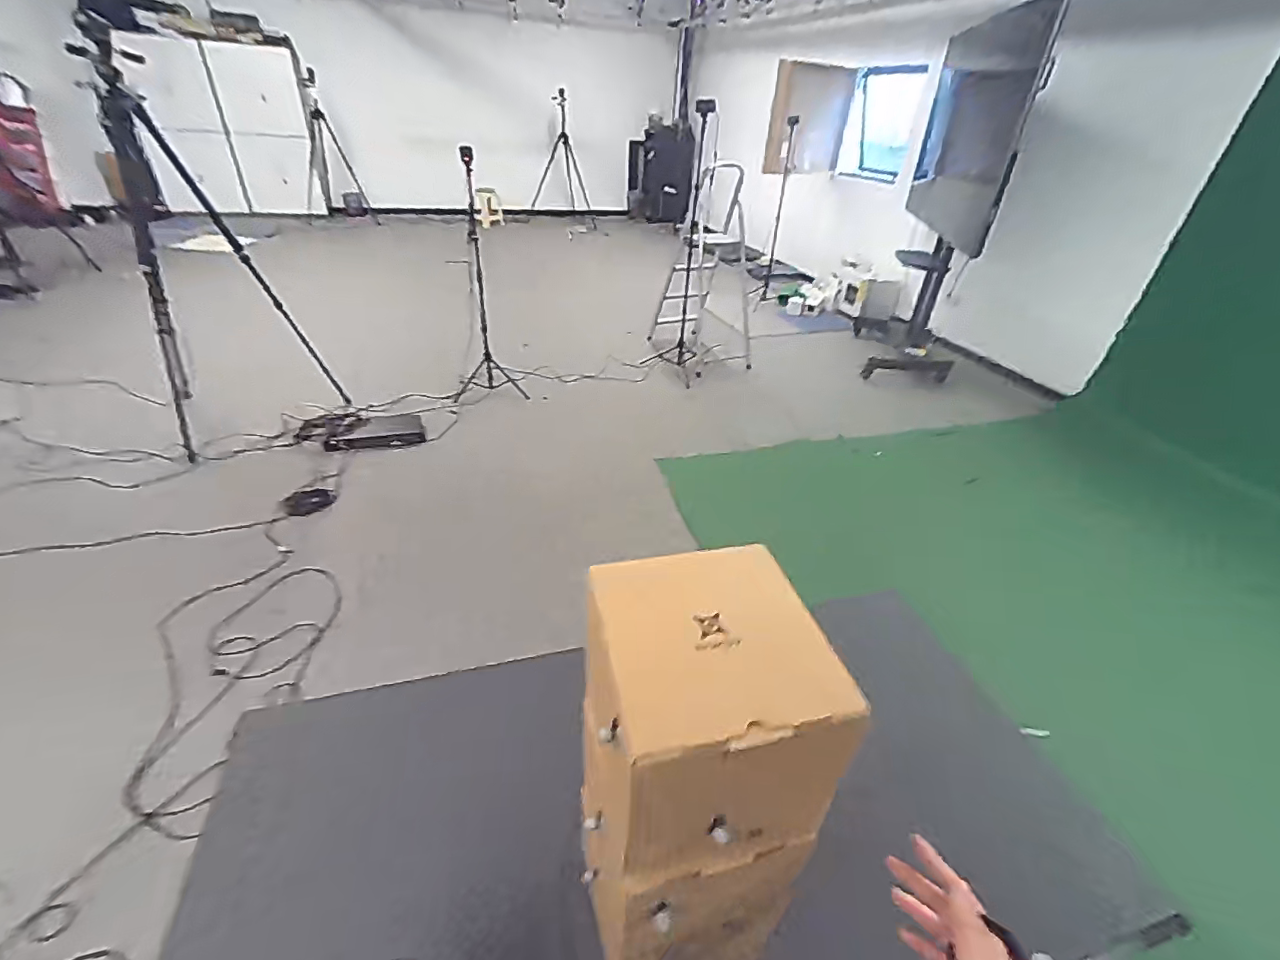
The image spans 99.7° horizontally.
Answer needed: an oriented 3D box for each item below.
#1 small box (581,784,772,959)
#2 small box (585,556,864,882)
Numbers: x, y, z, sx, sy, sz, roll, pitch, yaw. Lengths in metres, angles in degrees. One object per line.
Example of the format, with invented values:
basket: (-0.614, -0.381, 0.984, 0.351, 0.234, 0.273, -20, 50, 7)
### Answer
small box: (0.026, 0.467, 0.630, 0.168, 0.176, 0.179, -8, 36, -17)
small box: (0.048, 0.190, 0.457, 0.168, 0.176, 0.179, -5, 35, -14)
